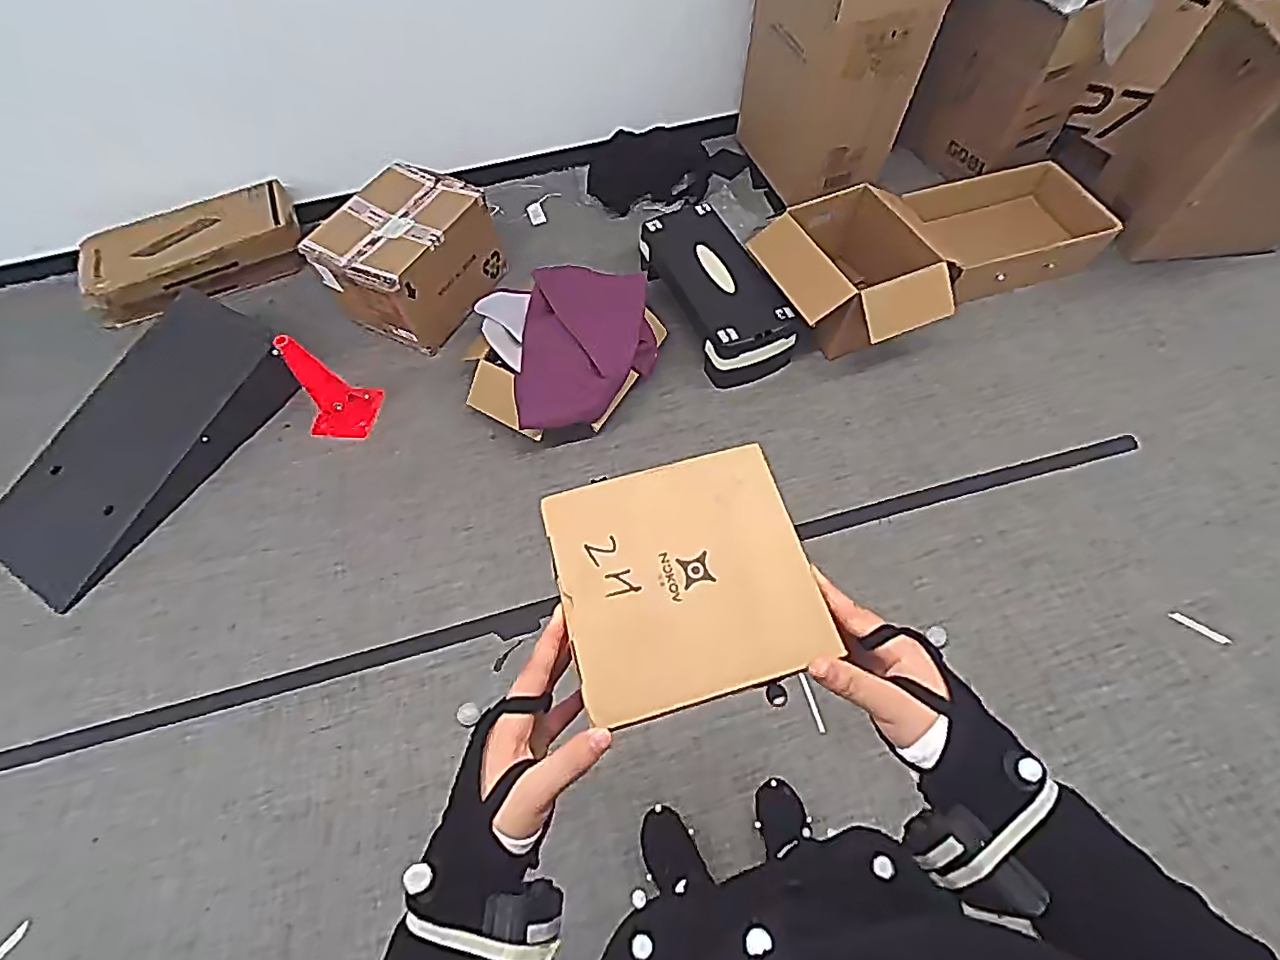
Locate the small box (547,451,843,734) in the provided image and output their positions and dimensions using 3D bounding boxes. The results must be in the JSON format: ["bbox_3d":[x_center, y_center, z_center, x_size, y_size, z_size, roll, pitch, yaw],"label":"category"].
[{"bbox_3d":[0.033,0.100,0.454,0.179,0.176,0.168,-14,67,-6],"label":"small box"}]
